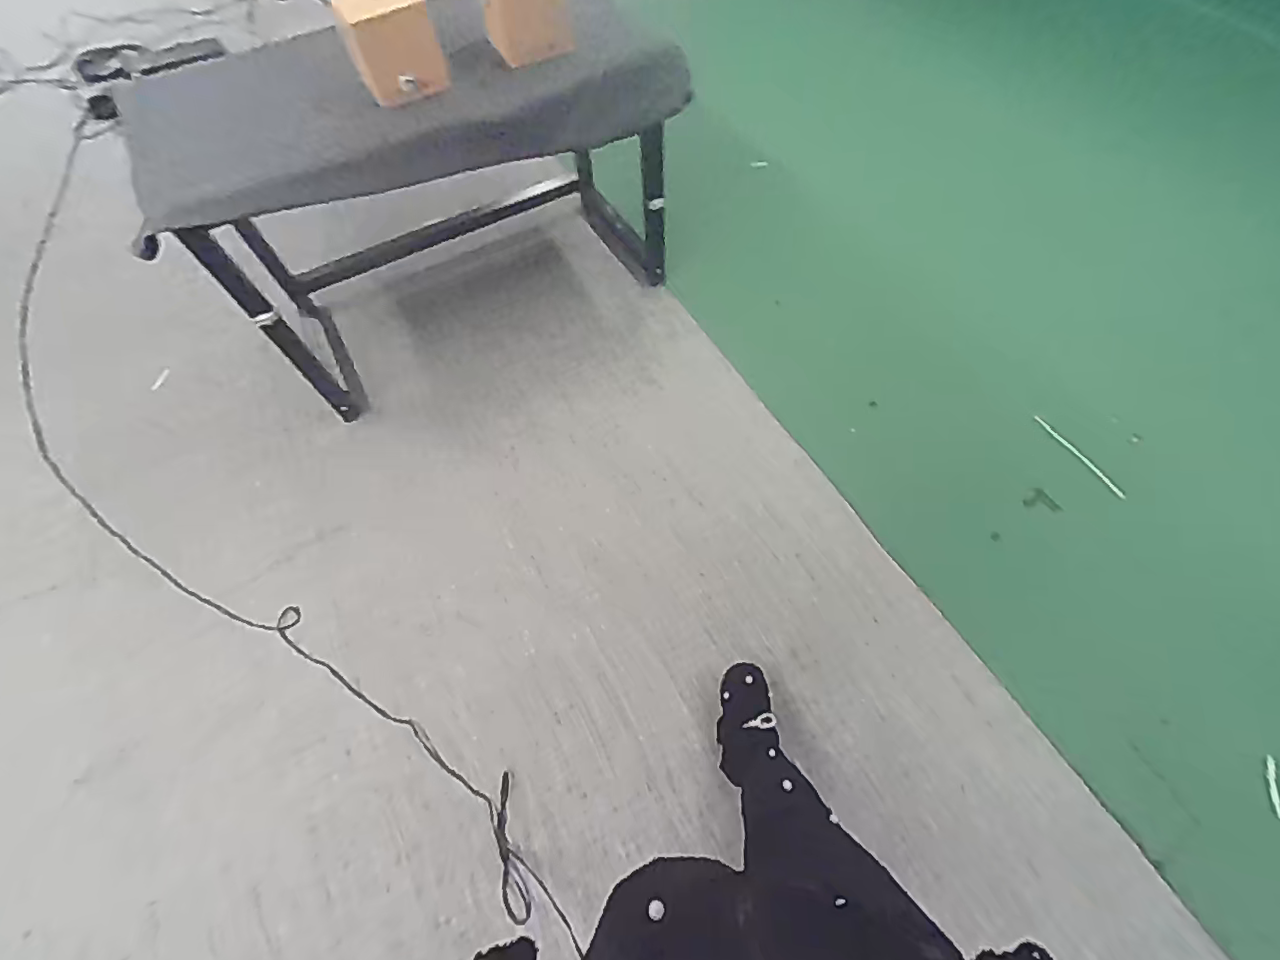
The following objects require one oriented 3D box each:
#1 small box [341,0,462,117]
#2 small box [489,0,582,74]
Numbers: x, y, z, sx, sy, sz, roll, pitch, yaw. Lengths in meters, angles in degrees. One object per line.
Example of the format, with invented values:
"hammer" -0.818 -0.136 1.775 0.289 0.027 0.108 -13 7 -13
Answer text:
"small box" -0.528 -0.959 1.212 0.168 0.176 0.179 -30 64 -11
"small box" -0.251 -1.099 1.271 0.168 0.176 0.179 -25 62 -9
